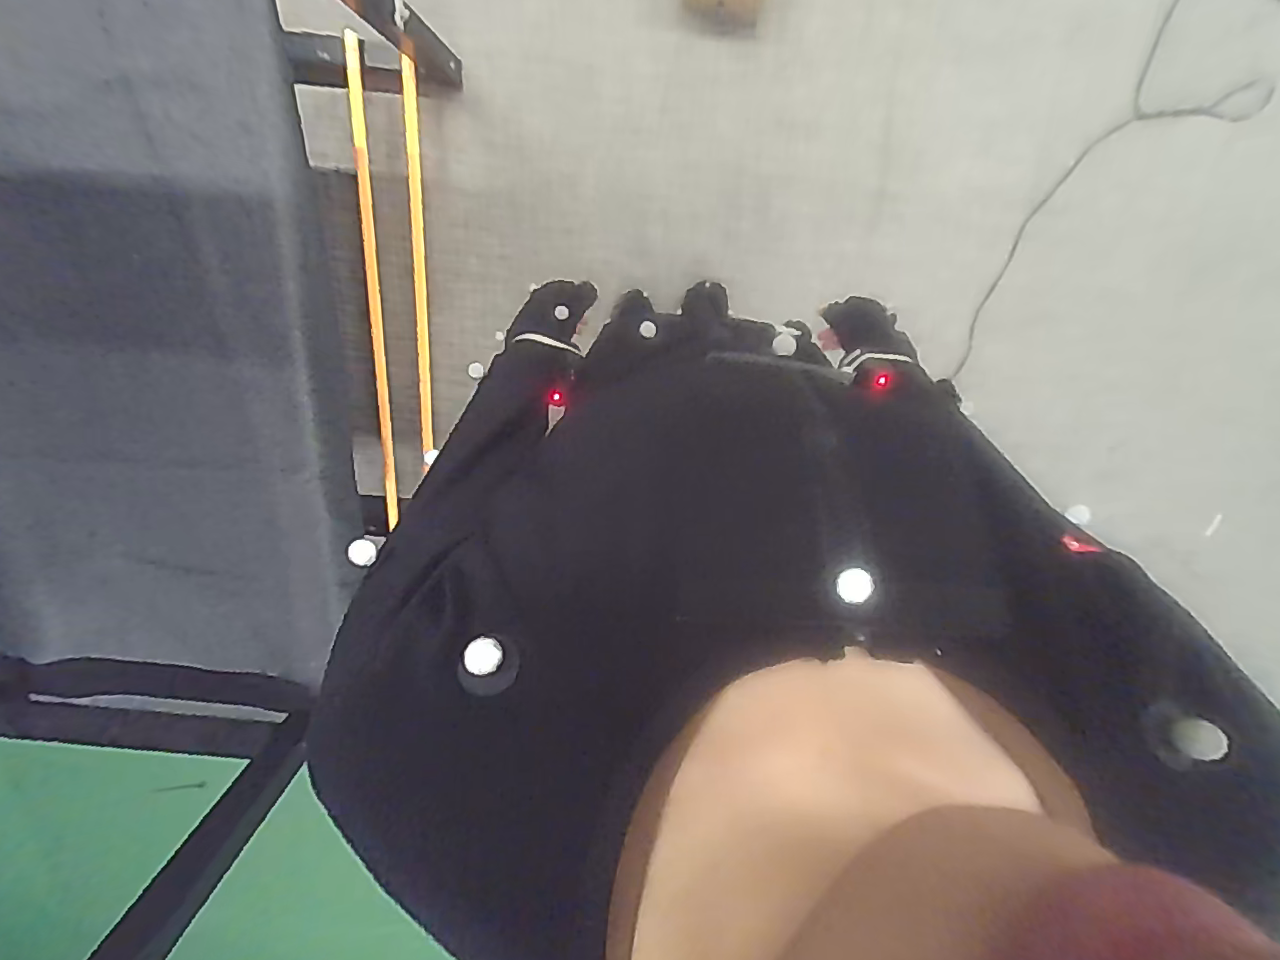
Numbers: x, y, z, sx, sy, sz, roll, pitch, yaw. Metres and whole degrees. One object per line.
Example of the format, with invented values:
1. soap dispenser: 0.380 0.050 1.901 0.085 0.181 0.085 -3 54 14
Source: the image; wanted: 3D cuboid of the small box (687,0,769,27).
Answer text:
1. small box: 0.187 -1.031 1.045 0.168 0.176 0.179 12 112 -2
